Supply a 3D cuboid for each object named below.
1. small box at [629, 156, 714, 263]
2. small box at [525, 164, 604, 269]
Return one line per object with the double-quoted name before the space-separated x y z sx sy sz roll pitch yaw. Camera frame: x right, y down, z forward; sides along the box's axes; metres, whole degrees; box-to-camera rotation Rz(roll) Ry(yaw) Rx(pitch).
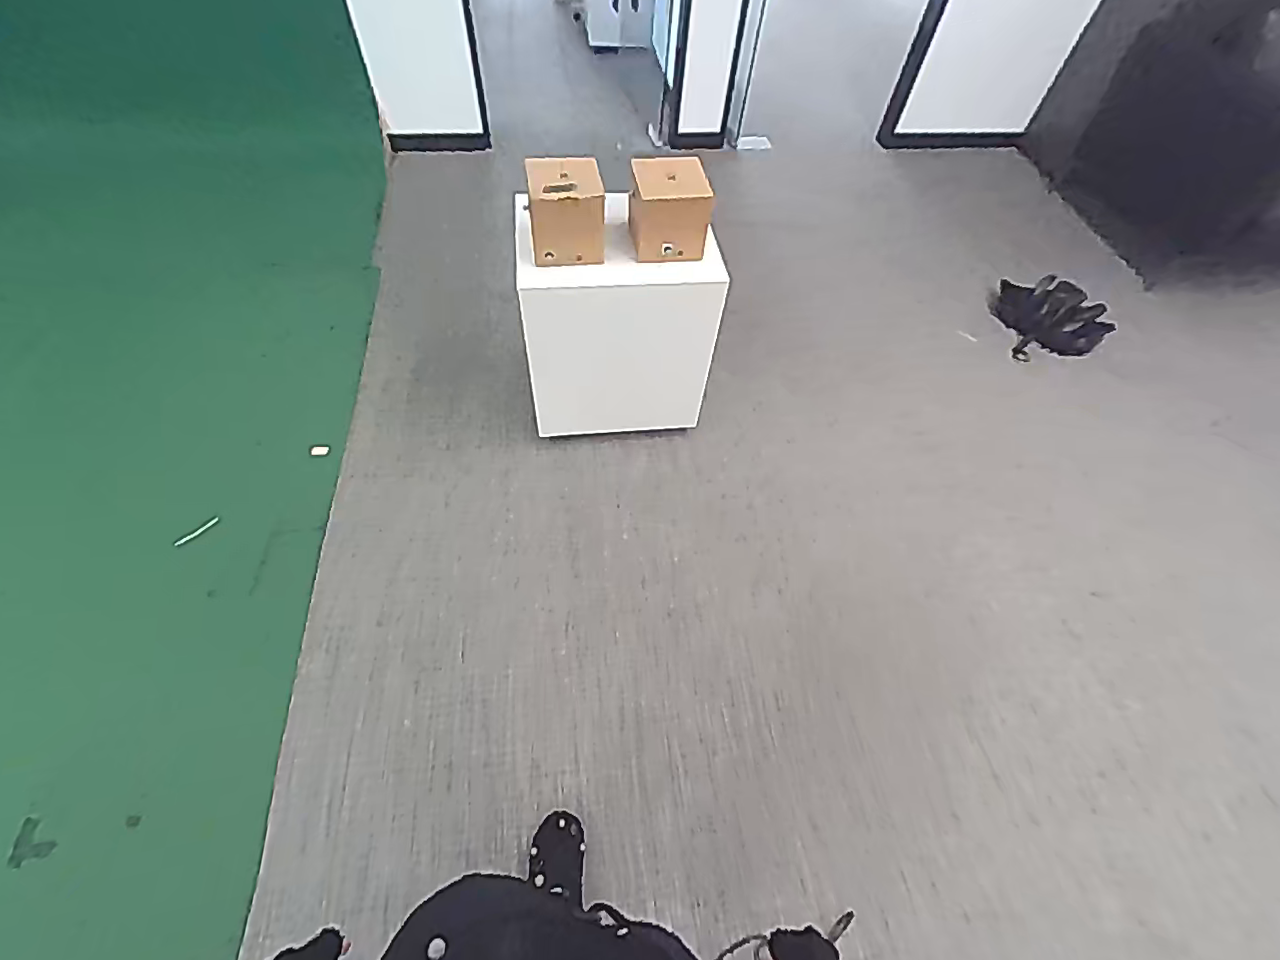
"small box" 0.067 -0.649 1.303 0.168 0.176 0.179 -7 59 -7
"small box" -0.178 -0.620 1.284 0.168 0.176 0.179 -7 56 -9
